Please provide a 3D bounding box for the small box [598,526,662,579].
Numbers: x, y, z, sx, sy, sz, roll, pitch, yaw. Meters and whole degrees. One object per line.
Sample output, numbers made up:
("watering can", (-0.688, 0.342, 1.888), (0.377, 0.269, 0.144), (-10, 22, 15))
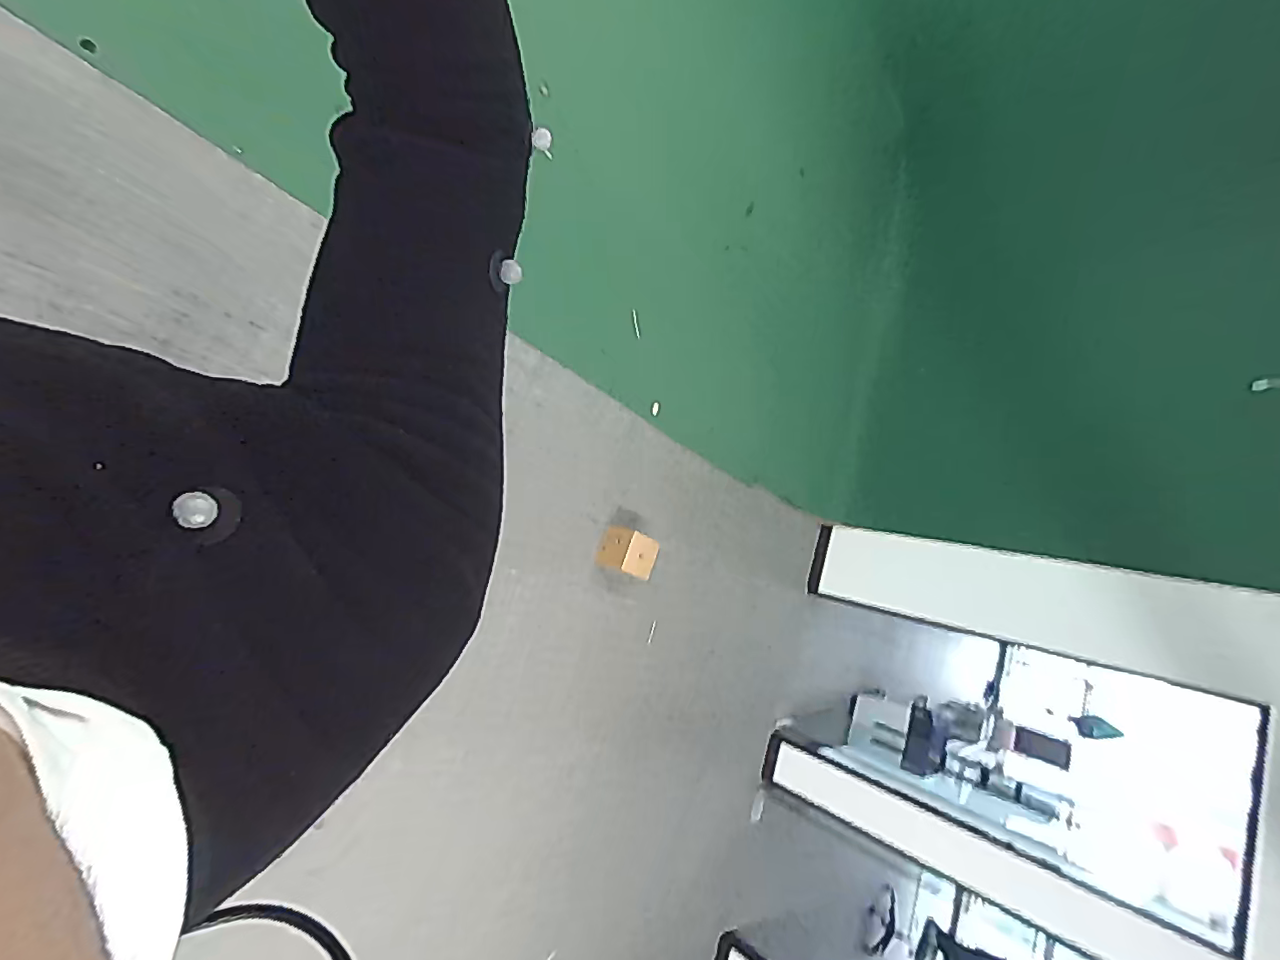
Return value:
("small box", (-0.045, 0.298, 2.255), (0.179, 0.176, 0.168), (33, 73, -44))
